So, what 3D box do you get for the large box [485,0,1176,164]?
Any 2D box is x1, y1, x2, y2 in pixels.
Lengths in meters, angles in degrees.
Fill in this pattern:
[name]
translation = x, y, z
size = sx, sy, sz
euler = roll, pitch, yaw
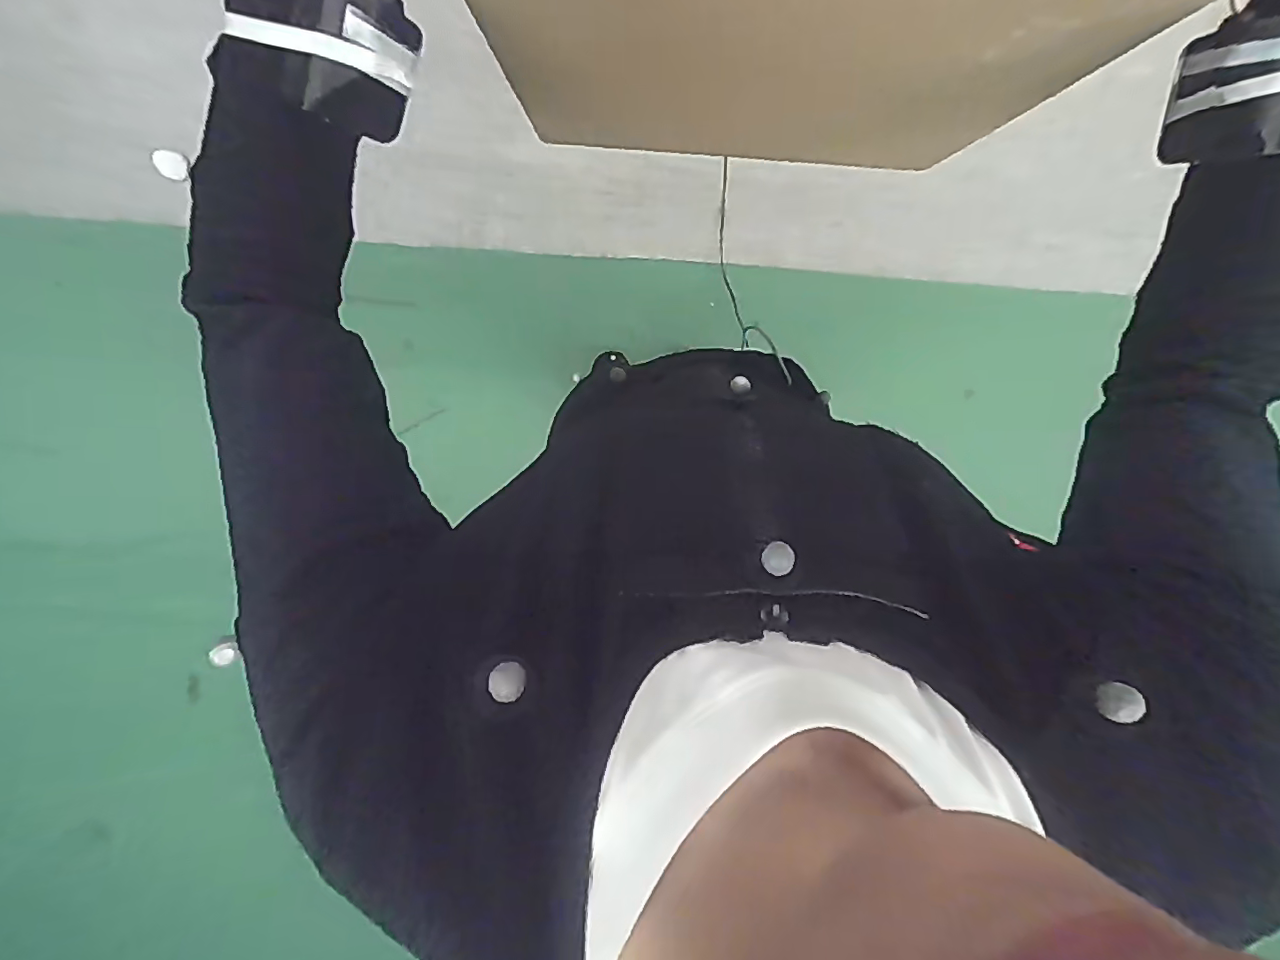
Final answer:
[large box]
translation = 0.105, -0.447, 0.381
size = 0.408, 0.320, 0.320
euler = 3, 105, -2
